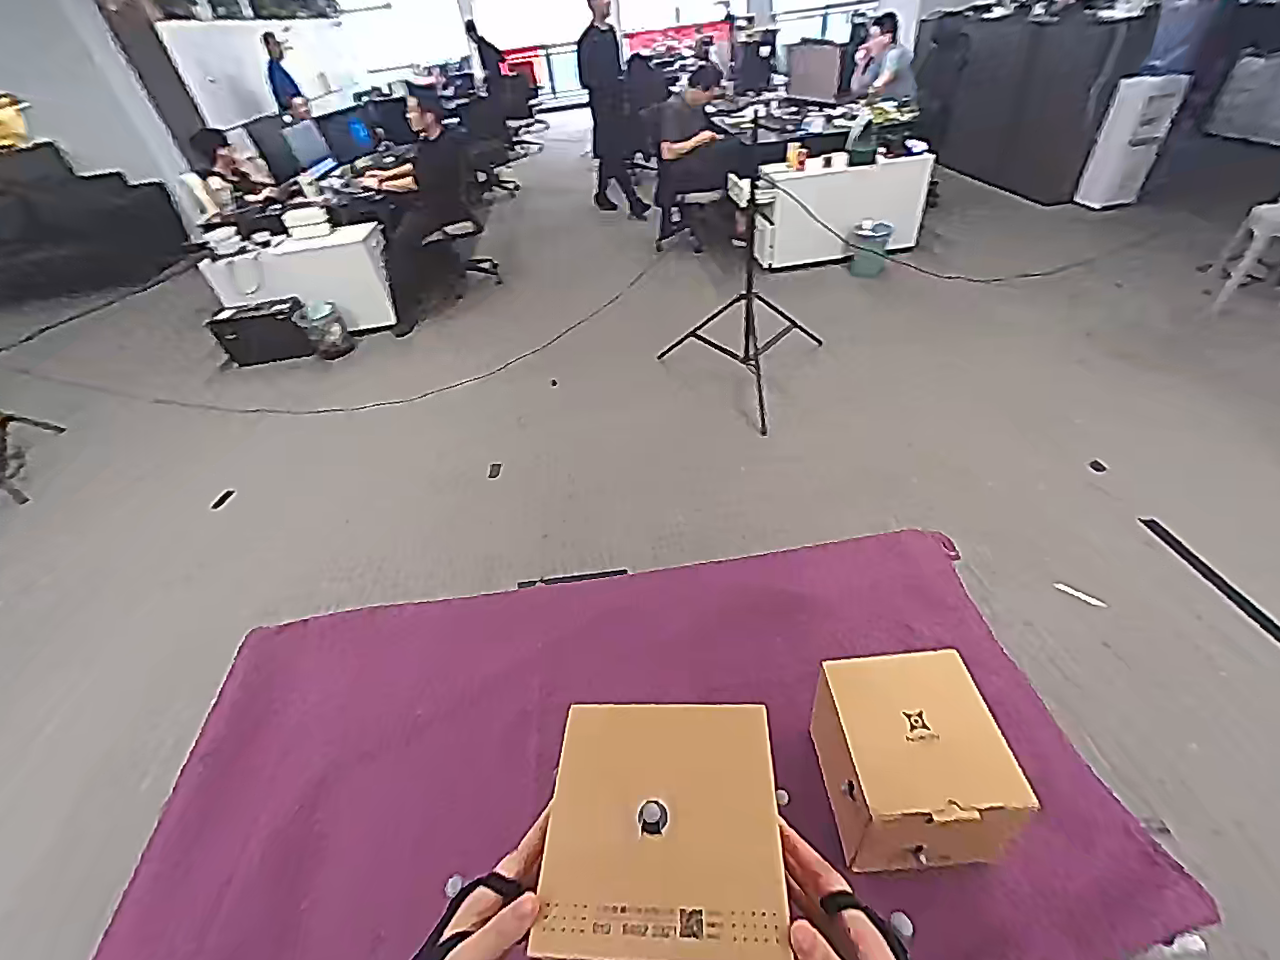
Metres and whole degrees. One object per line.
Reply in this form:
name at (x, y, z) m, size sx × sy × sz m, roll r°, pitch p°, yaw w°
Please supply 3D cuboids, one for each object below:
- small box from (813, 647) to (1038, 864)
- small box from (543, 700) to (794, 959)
small box at (0.315, 0.327, 0.647) m, size 0.168 × 0.176 × 0.179 m, roll -7°, pitch 40°, yaw 3°
small box at (0.029, 0.301, 0.439) m, size 0.168 × 0.179 × 0.176 m, roll -3°, pitch 39°, yaw 9°
